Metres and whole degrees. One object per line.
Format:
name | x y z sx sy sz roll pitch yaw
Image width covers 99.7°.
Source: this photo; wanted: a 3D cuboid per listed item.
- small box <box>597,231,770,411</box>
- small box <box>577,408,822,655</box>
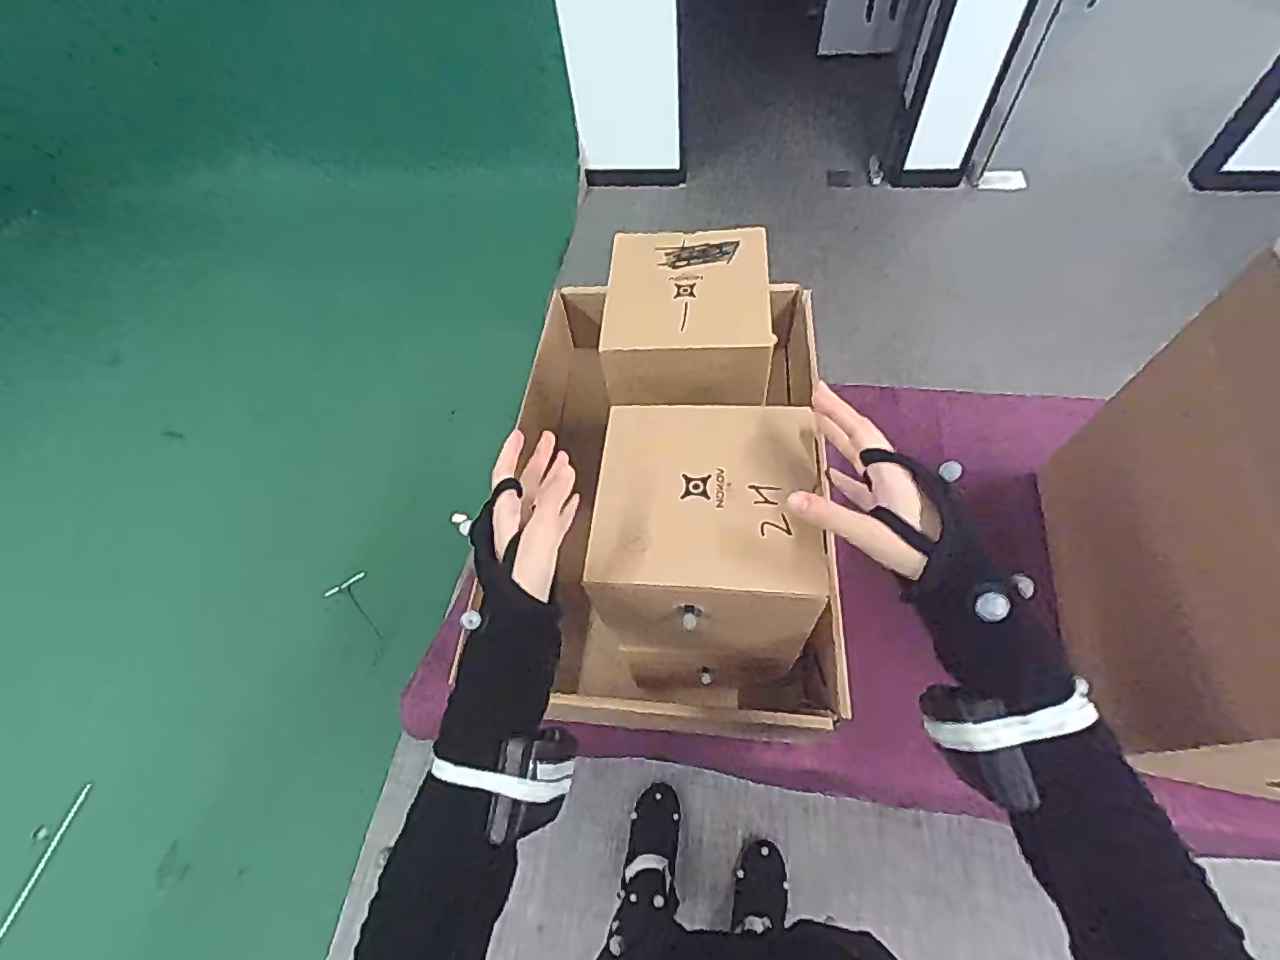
small box | 0.054 -0.154 0.617 0.168 0.176 0.179 0 61 8
small box | 0.057 0.052 0.488 0.179 0.176 0.168 2 59 9
